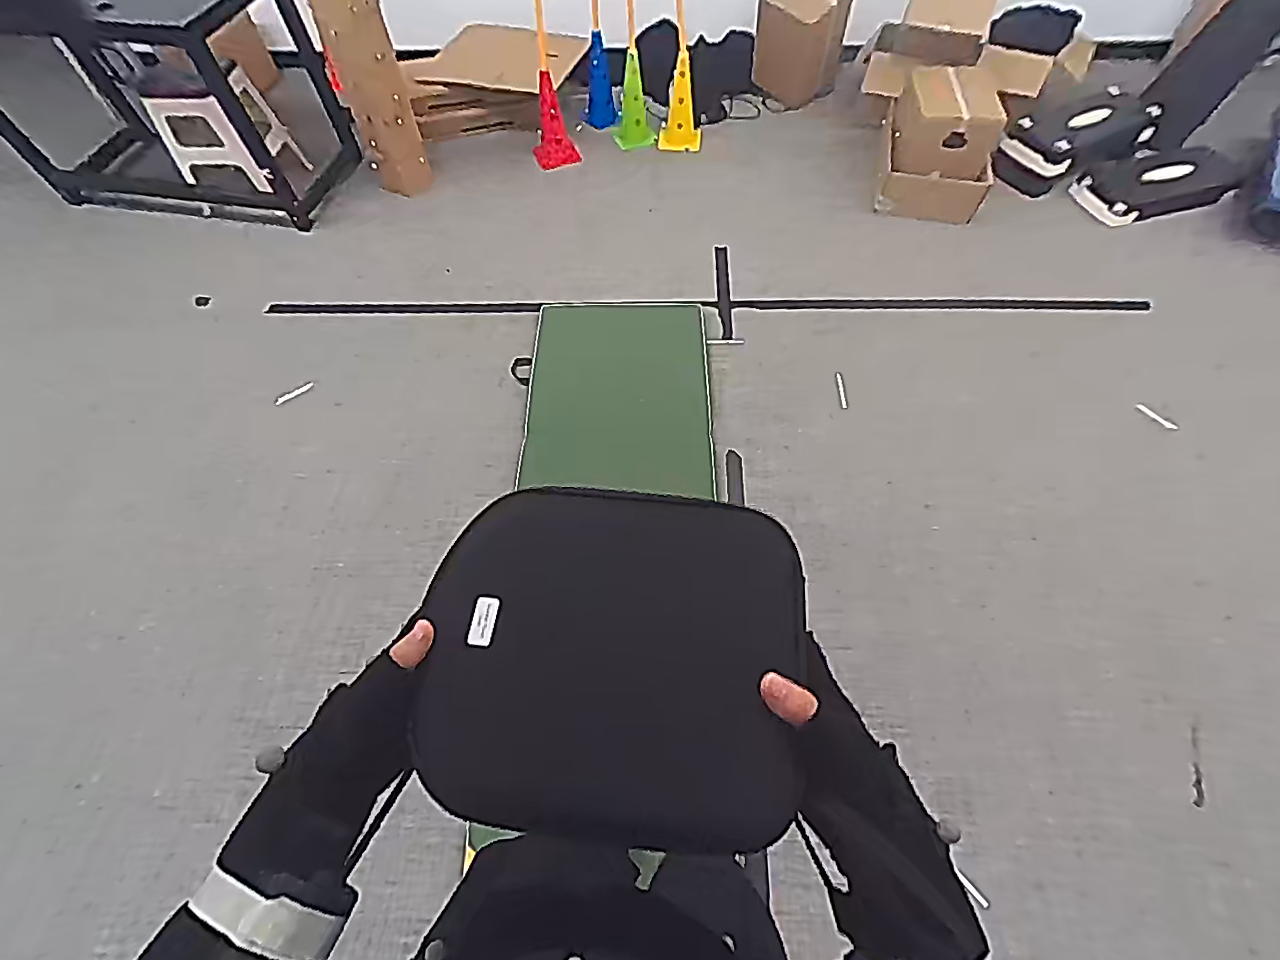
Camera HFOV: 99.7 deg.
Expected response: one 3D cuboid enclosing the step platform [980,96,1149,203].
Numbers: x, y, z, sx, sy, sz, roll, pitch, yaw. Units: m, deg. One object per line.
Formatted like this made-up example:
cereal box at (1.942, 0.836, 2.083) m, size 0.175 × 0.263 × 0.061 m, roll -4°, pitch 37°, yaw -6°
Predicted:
step platform at (1.909, -1.492, 2.431) m, size 0.684 × 0.204 × 0.286 m, roll -25°, pitch 63°, yaw -13°
